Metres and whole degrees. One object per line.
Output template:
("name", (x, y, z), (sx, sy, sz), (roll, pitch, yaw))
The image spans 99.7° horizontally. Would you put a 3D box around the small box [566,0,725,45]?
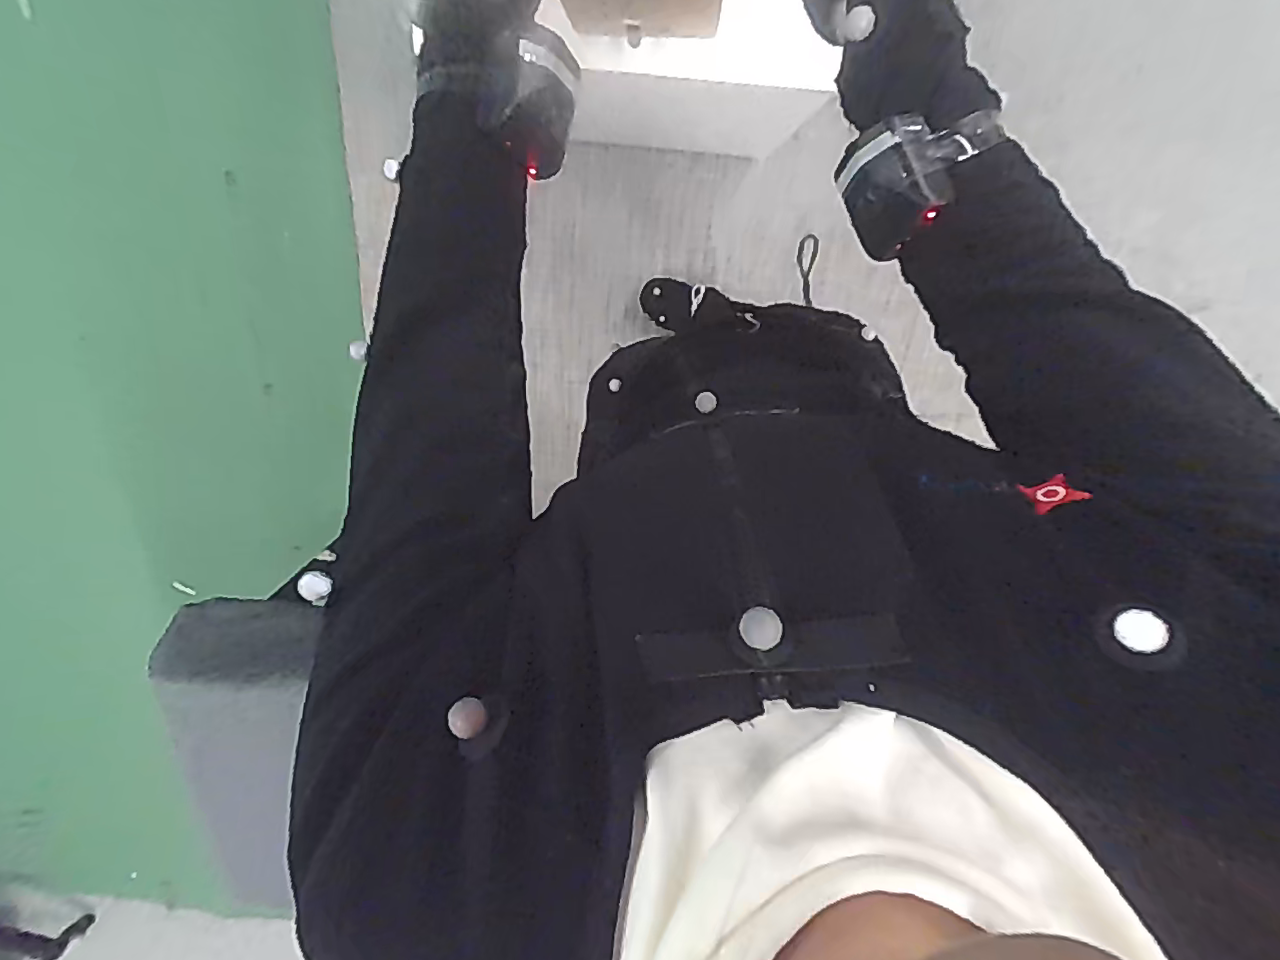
("small box", (0.005, -0.551, 0.515), (0.168, 0.176, 0.179), (4, 115, 5))
